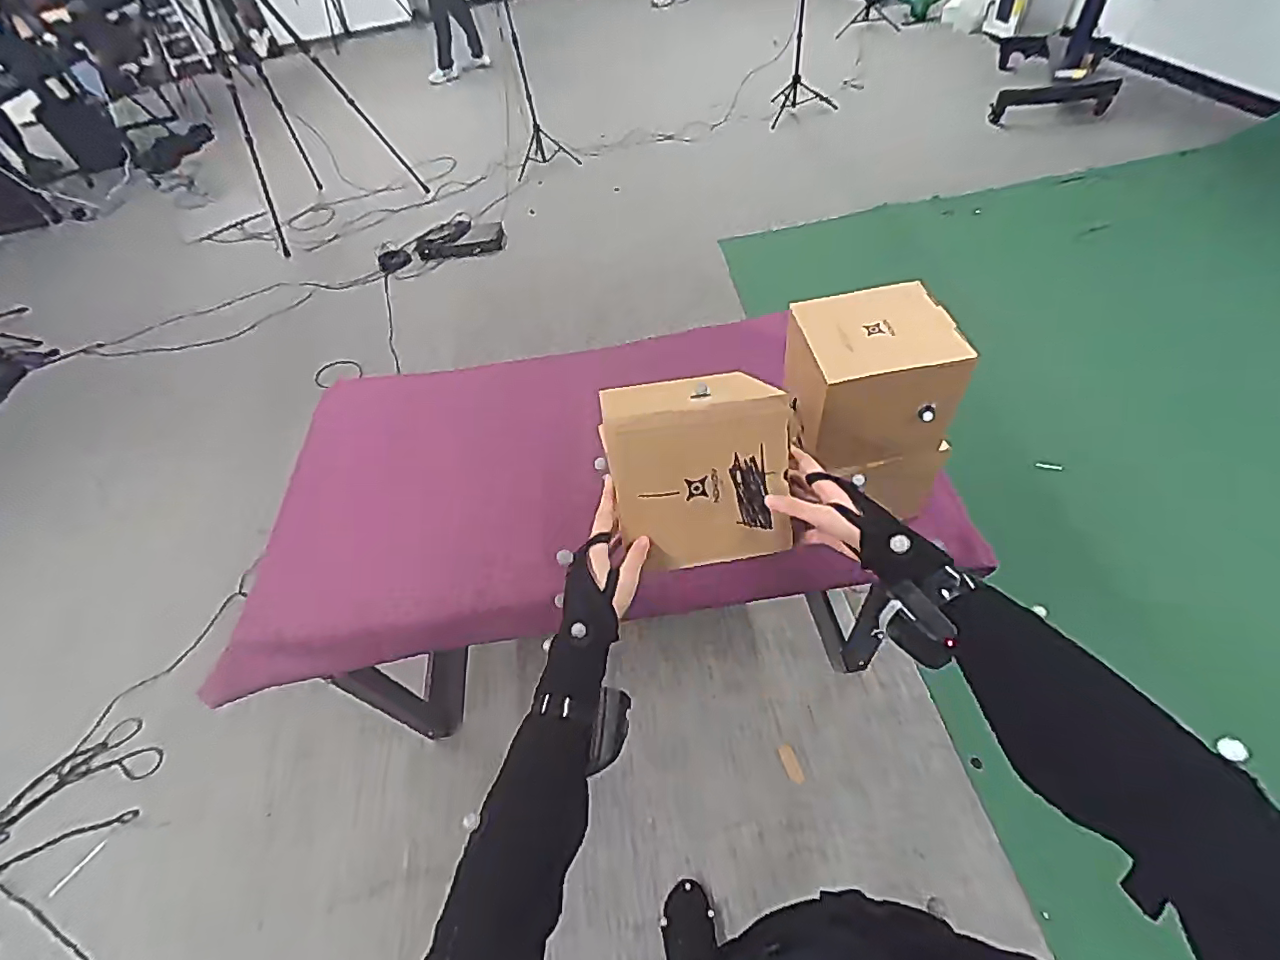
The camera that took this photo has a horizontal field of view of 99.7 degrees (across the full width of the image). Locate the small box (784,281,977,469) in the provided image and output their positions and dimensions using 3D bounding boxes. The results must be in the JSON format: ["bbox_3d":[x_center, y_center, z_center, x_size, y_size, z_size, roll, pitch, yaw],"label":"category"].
[{"bbox_3d":[0.304,-0.136,0.730,0.179,0.176,0.168,-10,51,3],"label":"small box"}]

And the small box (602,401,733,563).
[{"bbox_3d":[0.044,0.005,0.875,0.168,0.176,0.179,-16,50,-2],"label":"small box"}]

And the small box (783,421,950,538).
[{"bbox_3d":[0.340,-0.032,0.852,0.179,0.176,0.168,-14,51,-1],"label":"small box"}]
